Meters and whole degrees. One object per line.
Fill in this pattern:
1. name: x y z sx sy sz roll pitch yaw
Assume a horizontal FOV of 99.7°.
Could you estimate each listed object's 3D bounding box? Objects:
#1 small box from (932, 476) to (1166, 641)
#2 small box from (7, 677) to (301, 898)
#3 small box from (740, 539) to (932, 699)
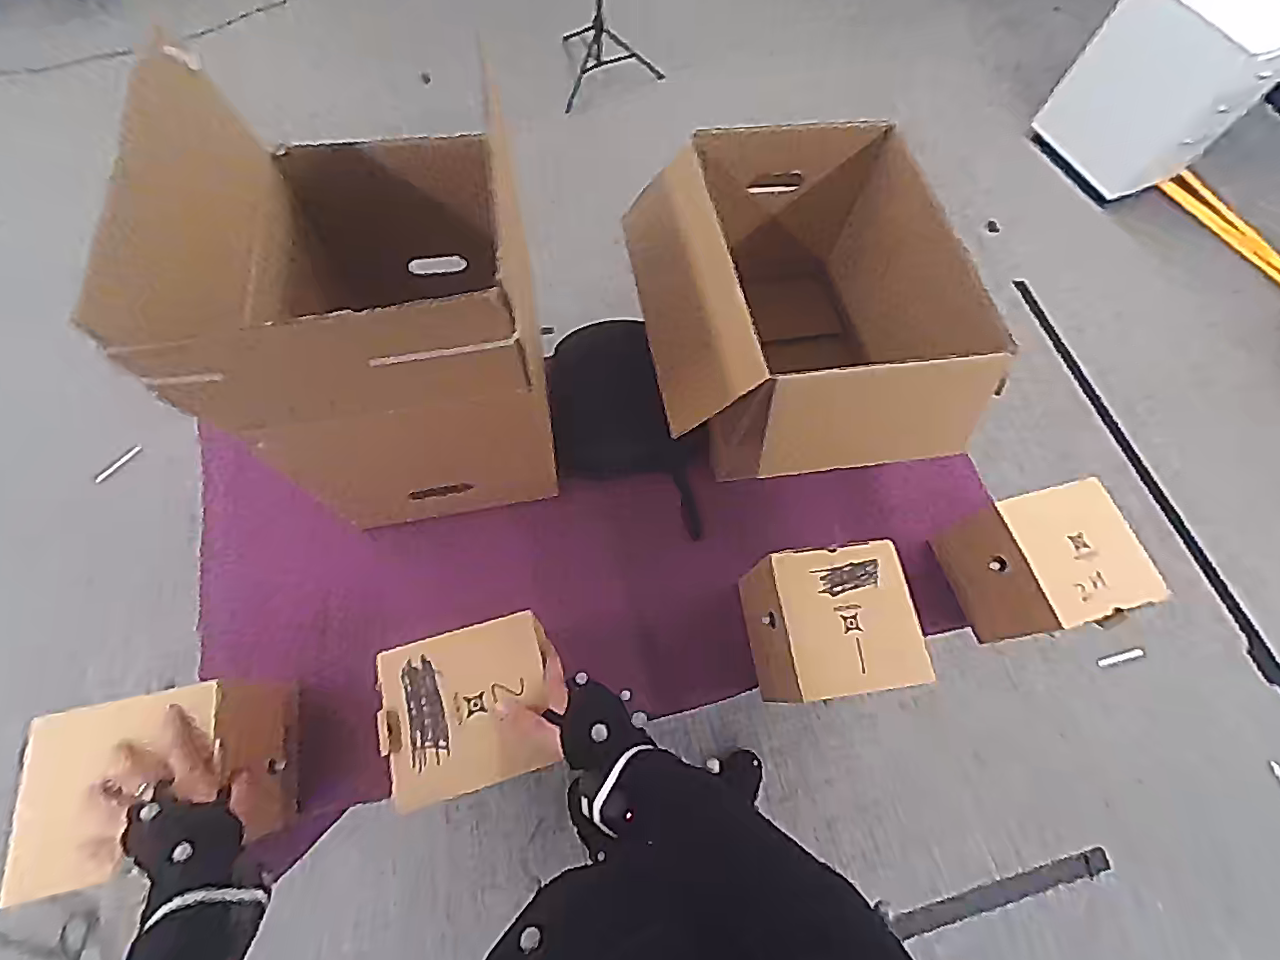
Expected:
1. small box: 0.565 0.118 0.778 0.168 0.176 0.179 -13 69 -8
2. small box: -0.519 0.330 0.610 0.179 0.176 0.168 -10 68 -10
3. small box: 0.244 0.192 0.725 0.168 0.176 0.179 -6 69 -7
